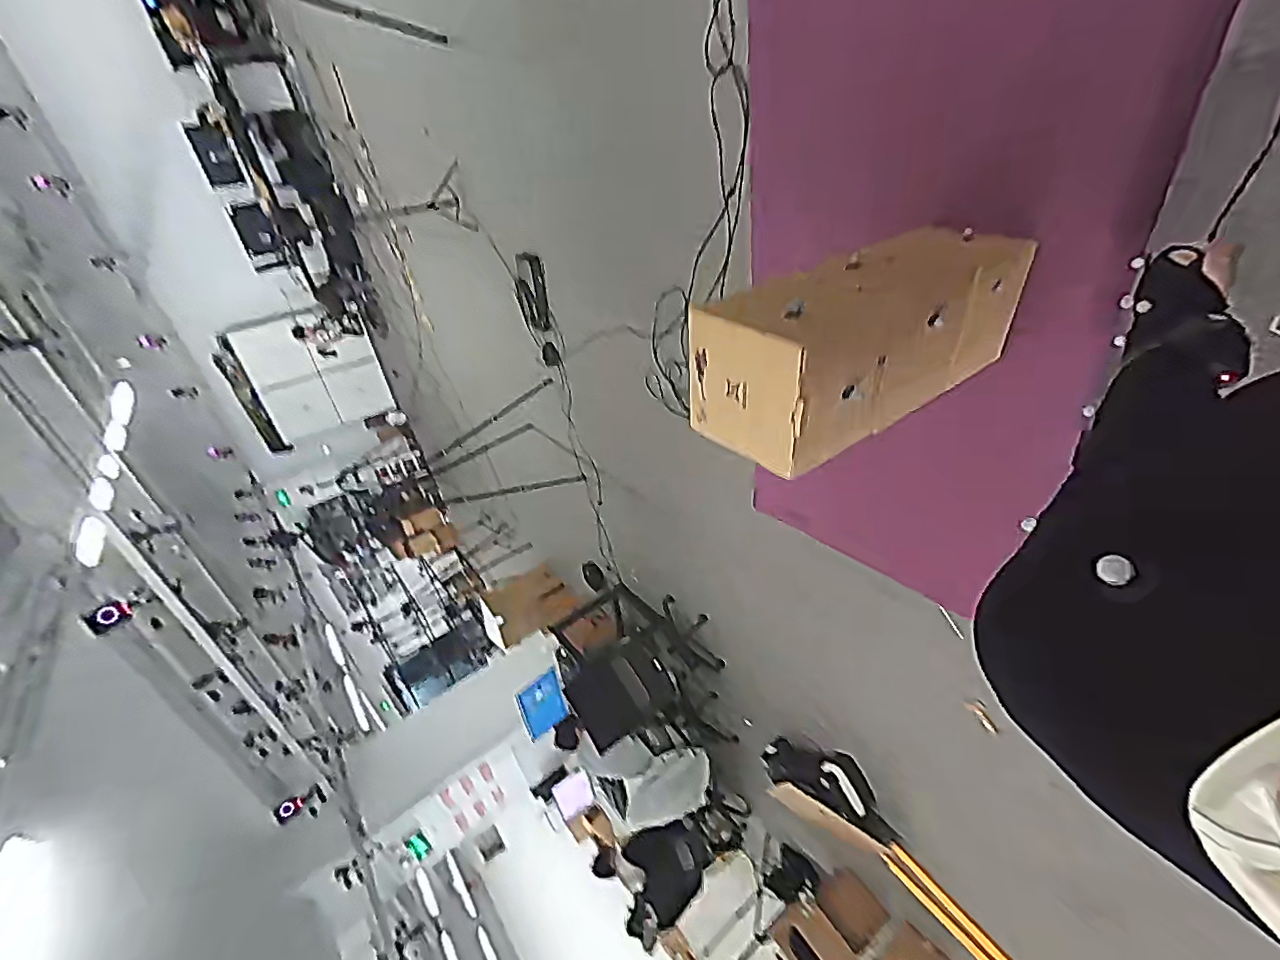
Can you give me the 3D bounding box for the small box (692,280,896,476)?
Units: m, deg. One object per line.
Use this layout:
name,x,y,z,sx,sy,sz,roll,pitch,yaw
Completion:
small box,0.185,-0.137,0.672,0.179,0.176,0.168,35,141,42

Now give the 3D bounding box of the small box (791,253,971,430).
small box,0.318,-0.200,0.742,0.168,0.176,0.179,35,142,42
